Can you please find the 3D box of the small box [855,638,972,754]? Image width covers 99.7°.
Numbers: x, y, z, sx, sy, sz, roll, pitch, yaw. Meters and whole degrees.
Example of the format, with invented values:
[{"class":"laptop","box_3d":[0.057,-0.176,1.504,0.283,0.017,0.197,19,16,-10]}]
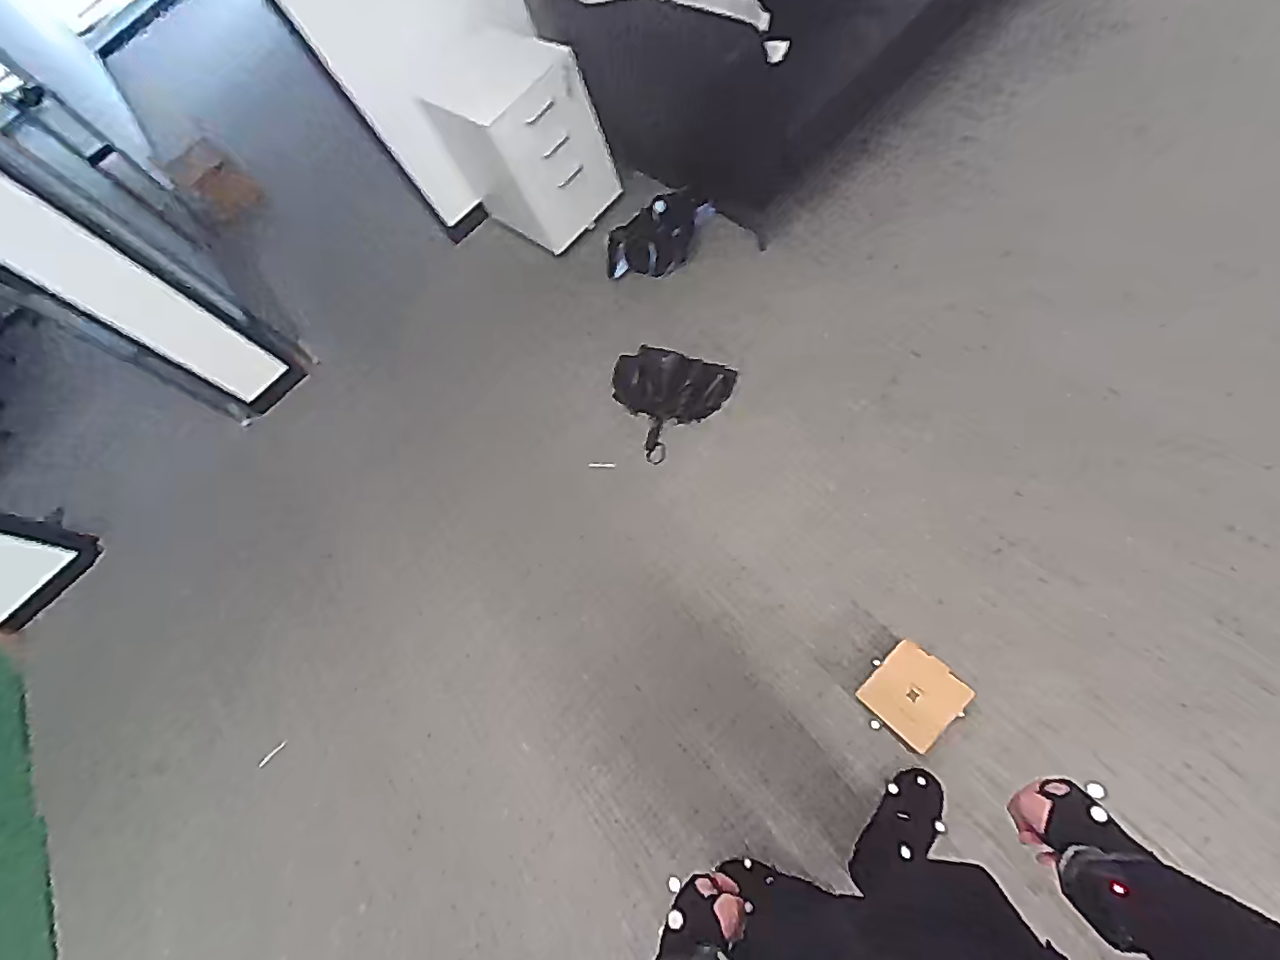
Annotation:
[{"class":"small box","box_3d":[0.608,0.489,1.226,0.179,0.176,0.168,-46,59,-4]}]
